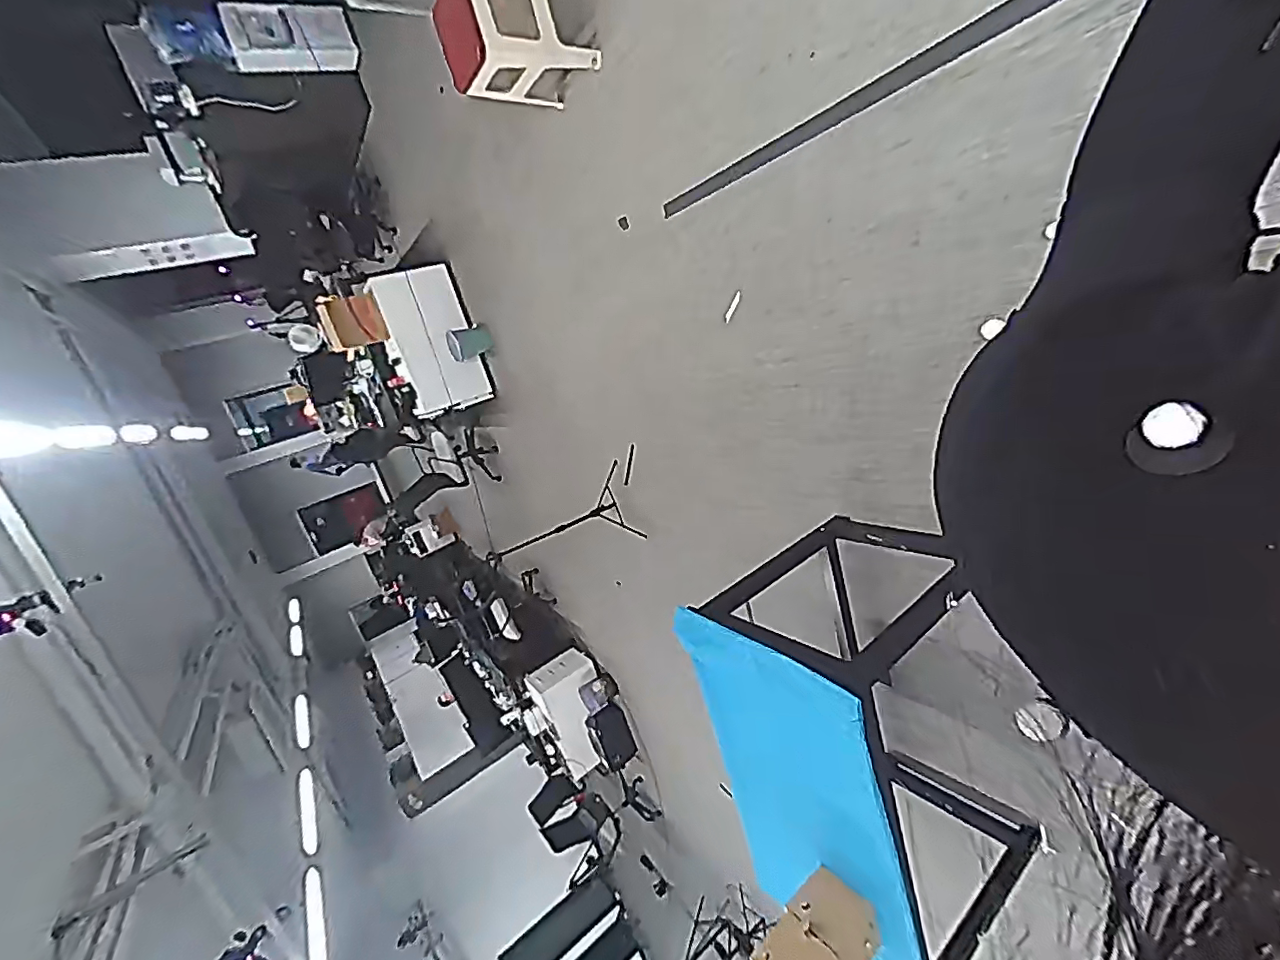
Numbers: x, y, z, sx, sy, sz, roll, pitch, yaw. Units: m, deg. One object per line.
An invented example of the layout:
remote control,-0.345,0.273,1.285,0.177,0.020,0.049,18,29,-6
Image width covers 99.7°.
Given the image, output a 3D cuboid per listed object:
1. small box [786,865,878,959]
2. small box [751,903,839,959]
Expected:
small box,0.552,1.260,1.553,0.179,0.176,0.168,10,122,54
small box,0.426,1.321,1.462,0.168,0.176,0.179,9,120,56
